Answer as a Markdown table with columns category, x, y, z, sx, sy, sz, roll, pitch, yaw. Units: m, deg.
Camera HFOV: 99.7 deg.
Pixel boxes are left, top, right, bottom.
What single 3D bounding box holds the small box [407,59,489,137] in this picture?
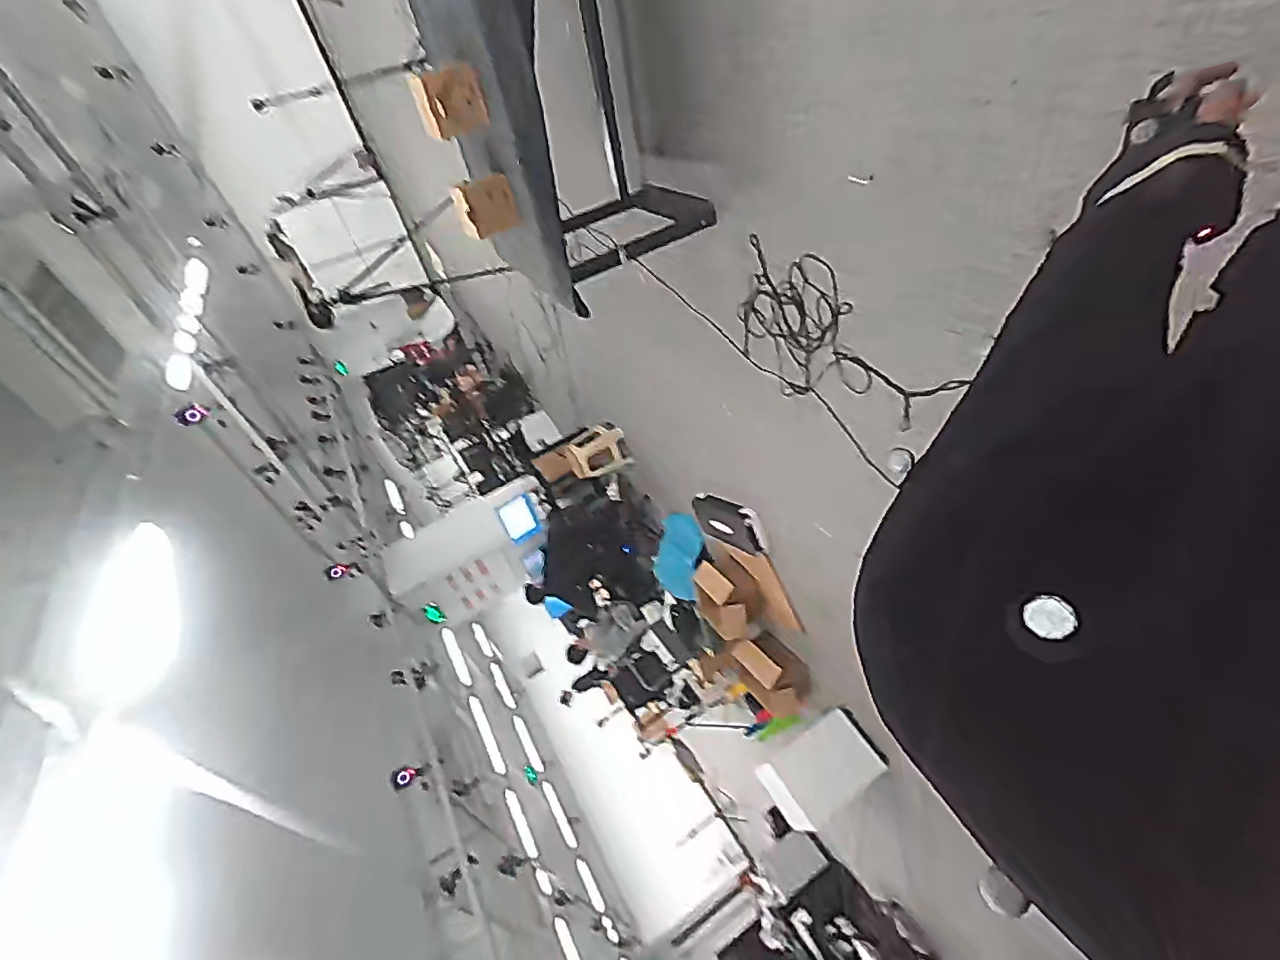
| category | x | y | z | sx | sy | sz | roll | pitch | yaw |
| --- | --- | --- | --- | --- | --- | --- | --- | --- | --- |
| small box | -0.592 | -1.188 | 1.679 | 0.179 | 0.176 | 0.168 | 45 | 157 | 43 |

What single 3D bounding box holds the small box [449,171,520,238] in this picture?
| category | x | y | z | sx | sy | sz | roll | pitch | yaw |
| --- | --- | --- | --- | --- | --- | --- | --- | --- | --- |
| small box | -0.535 | -0.961 | 1.880 | 0.179 | 0.176 | 0.168 | 43 | 155 | 49 |
